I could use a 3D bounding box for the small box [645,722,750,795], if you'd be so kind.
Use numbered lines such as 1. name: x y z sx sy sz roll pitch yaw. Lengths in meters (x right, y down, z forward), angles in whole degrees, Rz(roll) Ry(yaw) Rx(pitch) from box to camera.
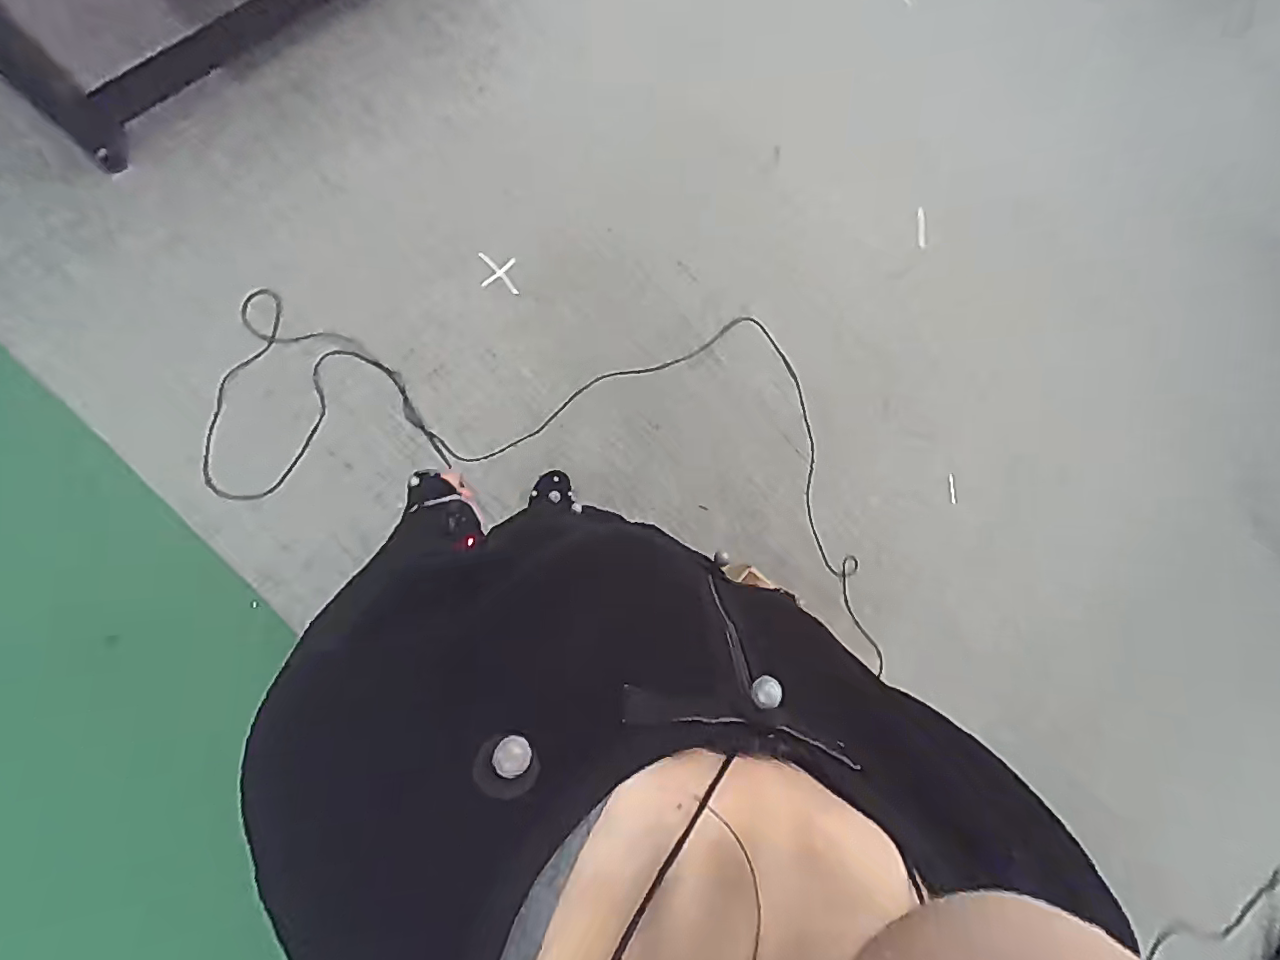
1. small box: 0.137 0.749 1.366 0.168 0.176 0.179 45 77 -4

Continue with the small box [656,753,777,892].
1. small box: 0.160 0.743 1.202 0.179 0.176 0.168 45 78 -5

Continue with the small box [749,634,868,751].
1. small box: 0.389 0.489 1.279 0.168 0.176 0.179 45 78 -3
